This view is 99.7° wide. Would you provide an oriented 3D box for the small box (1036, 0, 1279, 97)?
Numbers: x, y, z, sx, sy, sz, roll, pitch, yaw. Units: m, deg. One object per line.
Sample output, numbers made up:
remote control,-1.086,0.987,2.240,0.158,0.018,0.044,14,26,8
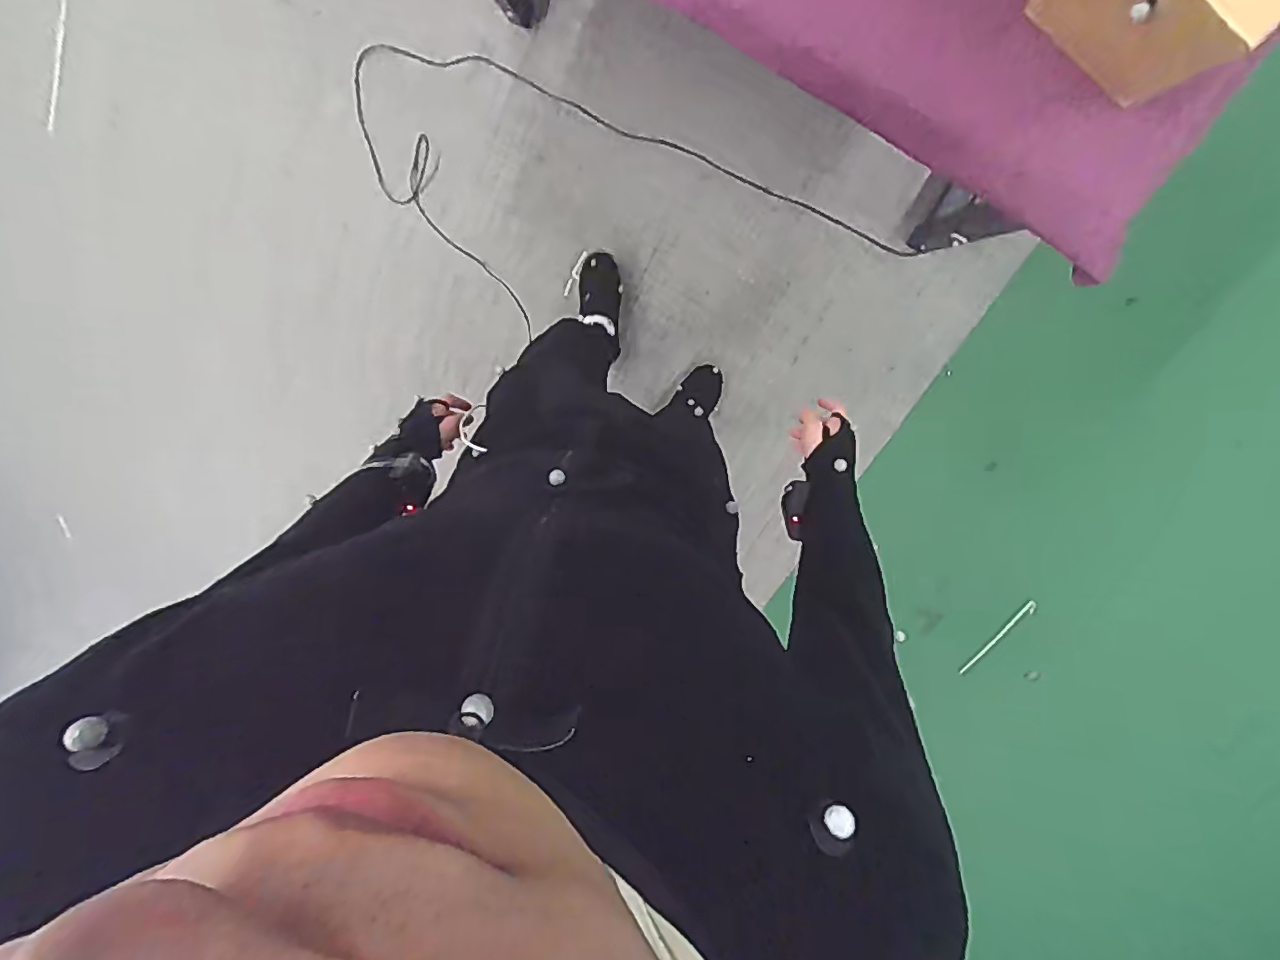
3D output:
small box,0.560,-0.528,0.540,0.179,0.176,0.168,39,110,-5
